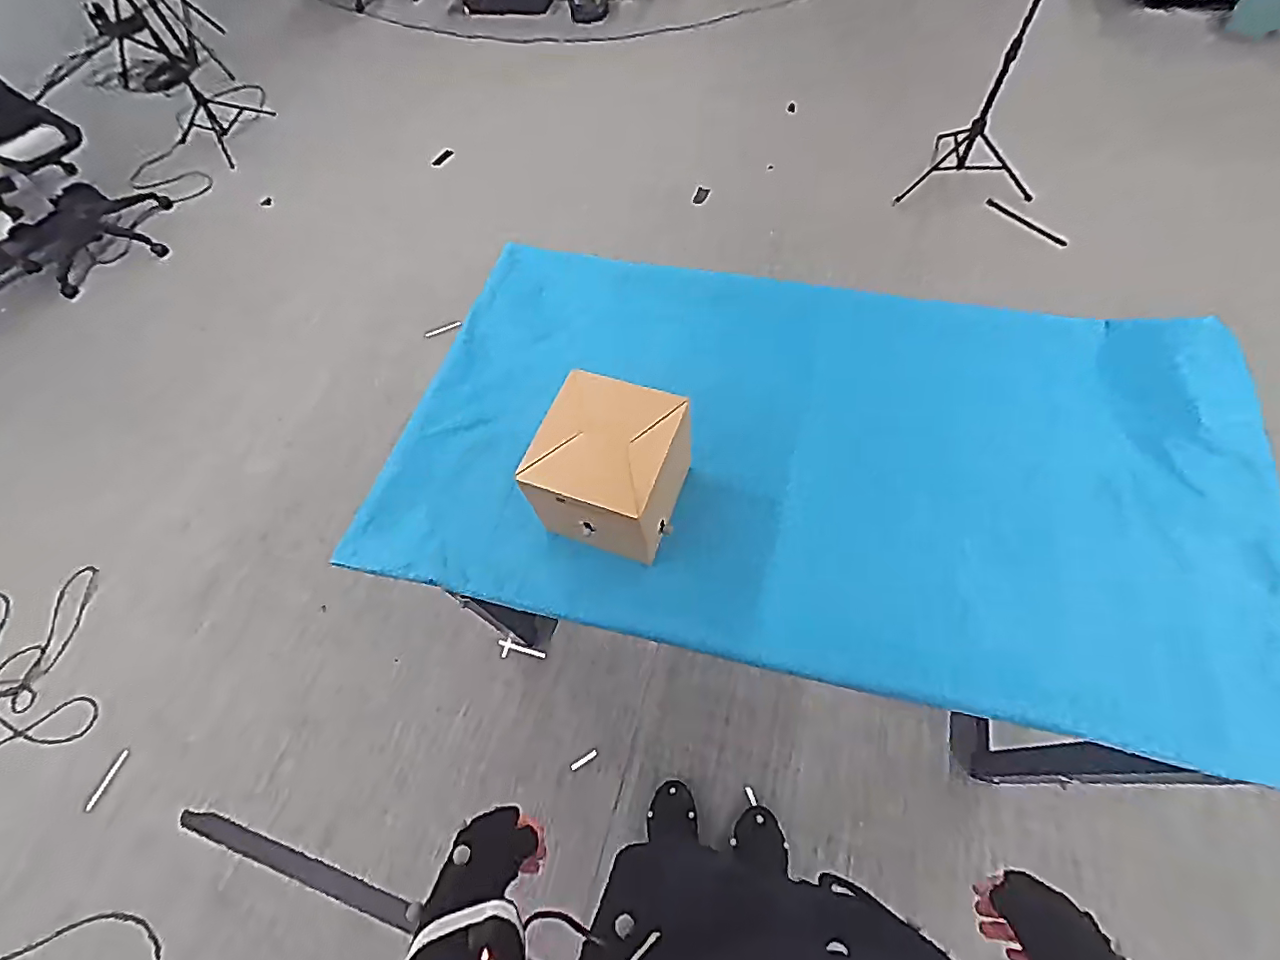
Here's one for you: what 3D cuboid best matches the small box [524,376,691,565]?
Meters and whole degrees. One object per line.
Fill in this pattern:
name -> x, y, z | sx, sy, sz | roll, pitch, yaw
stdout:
small box -> -0.035, -0.012, 0.737 | 0.168, 0.176, 0.179 | 17, 65, 14
